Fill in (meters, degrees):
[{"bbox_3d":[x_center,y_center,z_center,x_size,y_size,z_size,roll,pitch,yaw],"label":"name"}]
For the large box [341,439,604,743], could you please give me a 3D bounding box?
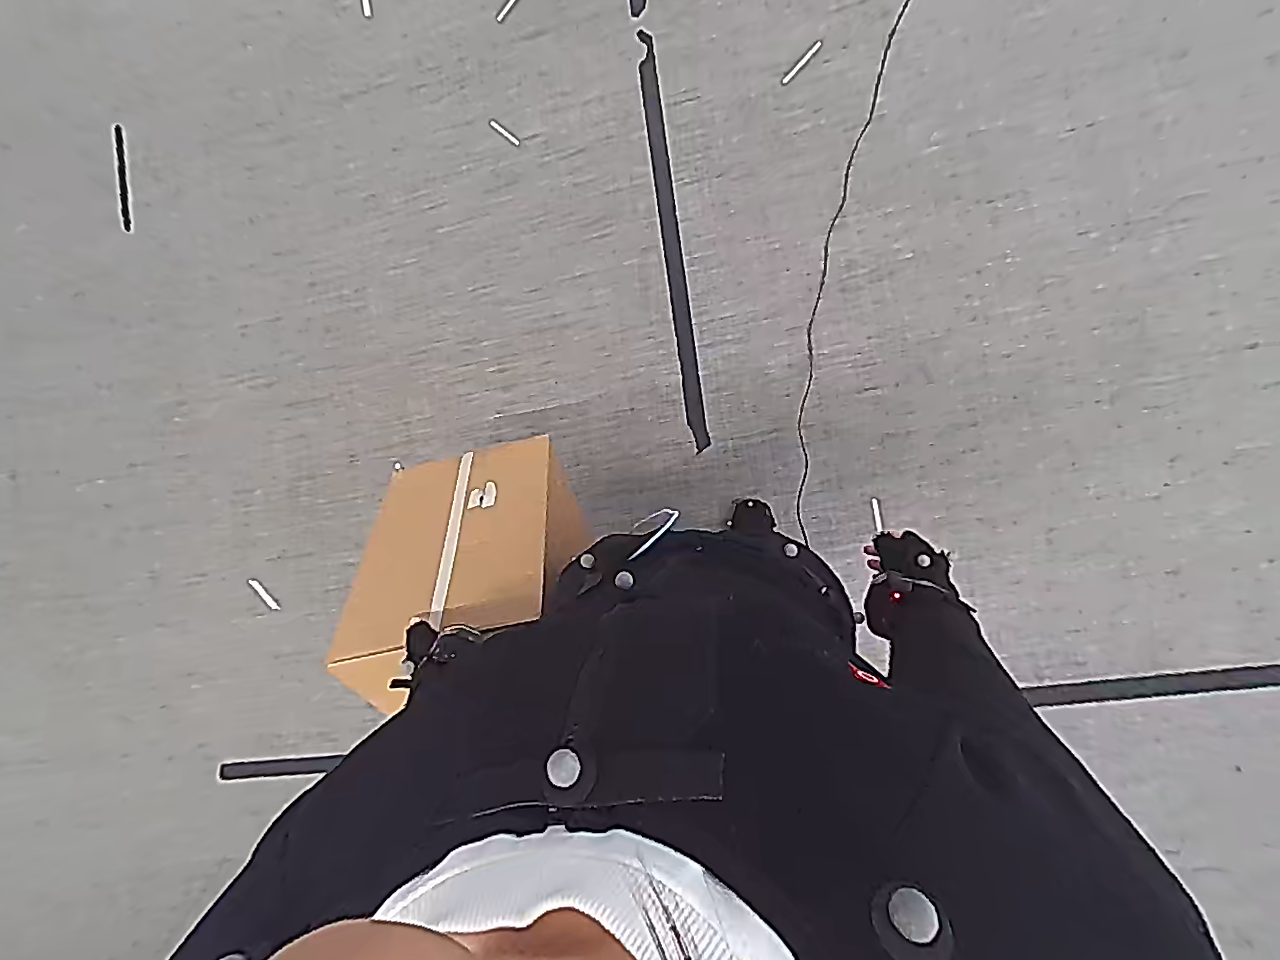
[{"bbox_3d":[-0.261,0.193,0.983,0.320,0.320,0.408,-12,42,3],"label":"large box"}]
